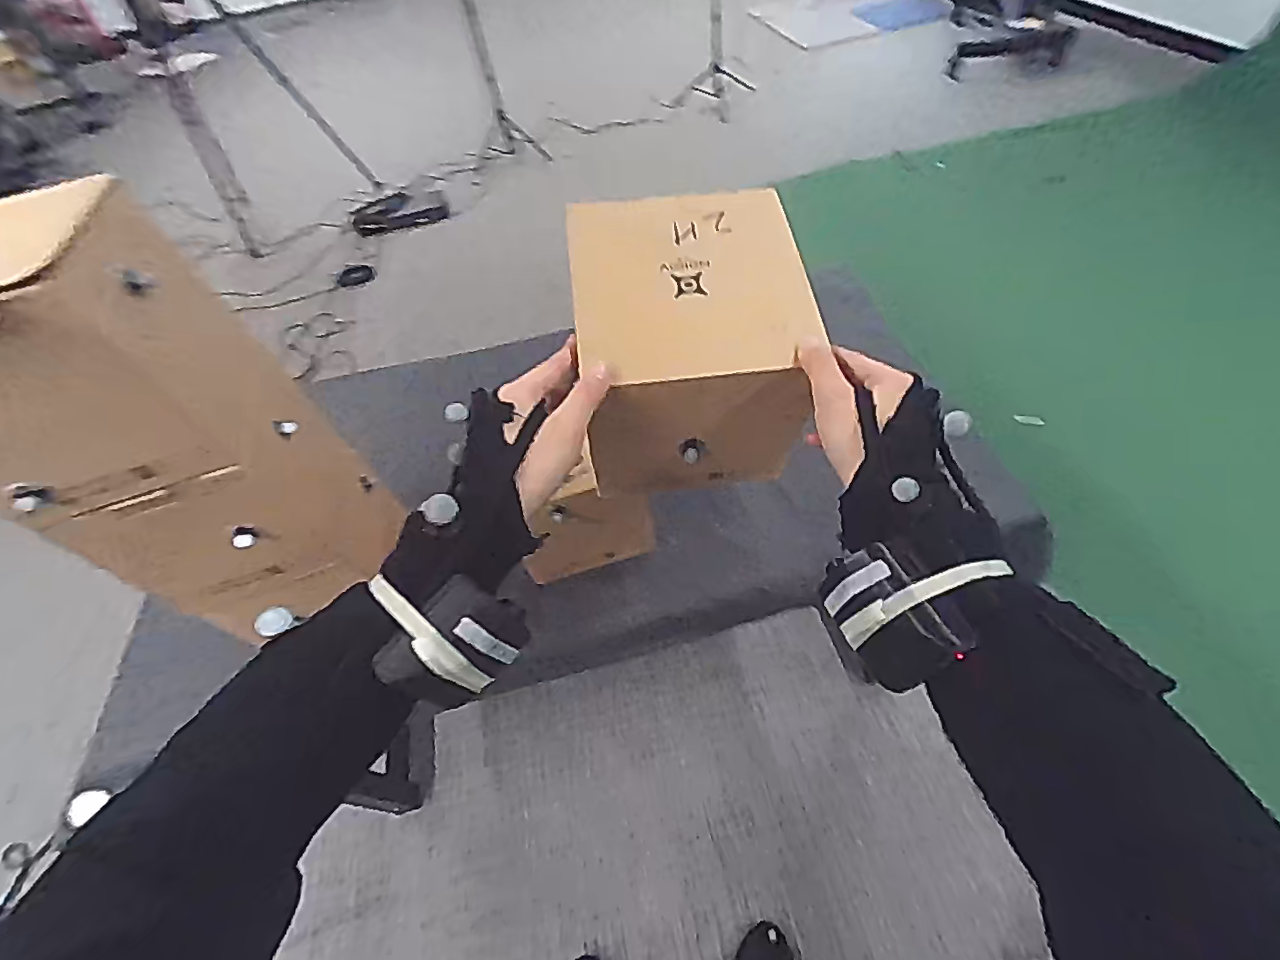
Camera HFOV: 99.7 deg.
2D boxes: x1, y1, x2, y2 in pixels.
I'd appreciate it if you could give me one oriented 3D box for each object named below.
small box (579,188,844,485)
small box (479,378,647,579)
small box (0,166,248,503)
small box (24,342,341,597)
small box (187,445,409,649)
[{"bbox_3d":[0.042,-0.104,0.446,0.168,0.176,0.179,-5,64,-3],"label":"small box"},{"bbox_3d":[-0.096,-0.001,0.702,0.168,0.176,0.179,-17,52,-5],"label":"small box"},{"bbox_3d":[-0.442,-0.103,0.416,0.168,0.176,0.179,-19,52,-8],"label":"small box"},{"bbox_3d":[-0.424,-0.003,0.545,0.168,0.176,0.179,-18,52,-8],"label":"small box"},{"bbox_3d":[-0.405,0.092,0.676,0.168,0.176,0.179,-18,53,-6],"label":"small box"}]
